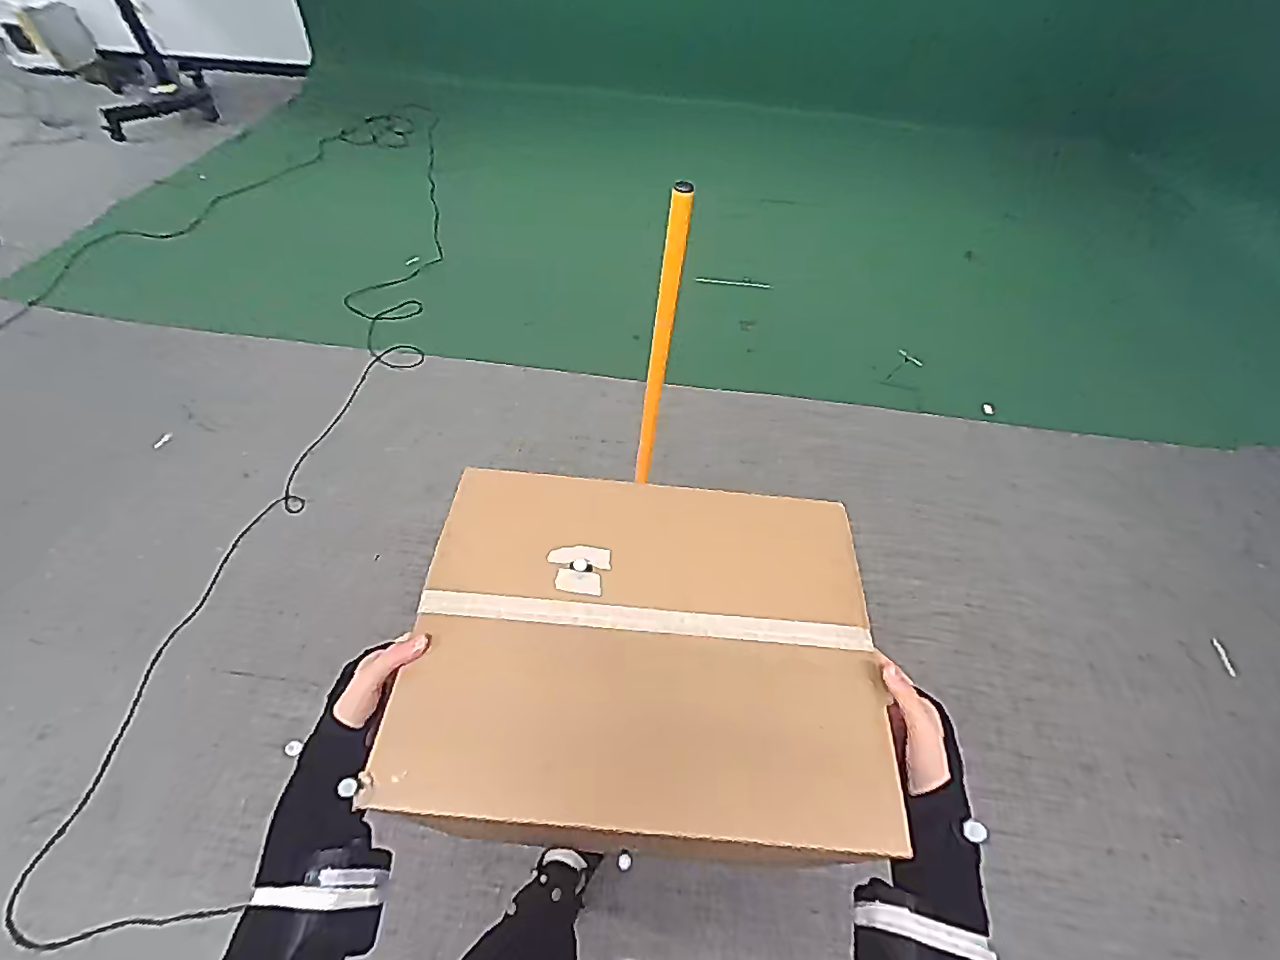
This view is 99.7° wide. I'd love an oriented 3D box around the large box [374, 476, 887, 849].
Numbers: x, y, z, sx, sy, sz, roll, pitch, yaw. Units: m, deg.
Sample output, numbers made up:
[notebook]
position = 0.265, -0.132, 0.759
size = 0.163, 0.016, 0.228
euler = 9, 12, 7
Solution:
[large box]
position = -0.001, 0.221, 0.619
size = 0.408, 0.320, 0.320
euler = 6, 53, 1
